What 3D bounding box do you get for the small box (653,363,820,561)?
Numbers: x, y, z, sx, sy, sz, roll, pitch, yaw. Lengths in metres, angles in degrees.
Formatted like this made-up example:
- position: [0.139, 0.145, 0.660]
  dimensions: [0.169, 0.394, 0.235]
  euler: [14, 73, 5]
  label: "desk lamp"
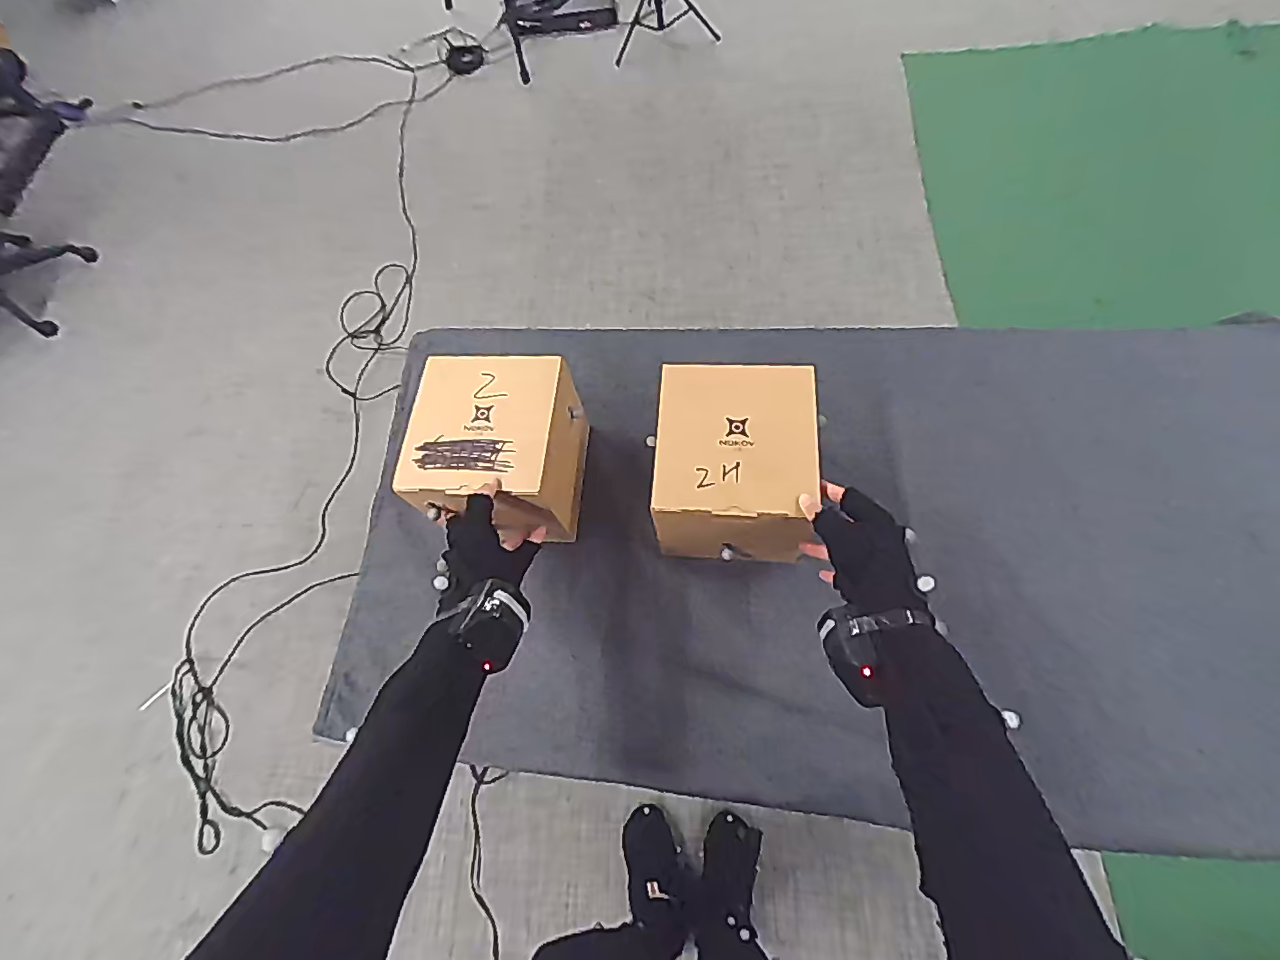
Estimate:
- position: [0.108, -0.016, 0.634]
  dimensions: [0.168, 0.176, 0.179]
  euler: [2, 67, 8]
  label: "small box"
